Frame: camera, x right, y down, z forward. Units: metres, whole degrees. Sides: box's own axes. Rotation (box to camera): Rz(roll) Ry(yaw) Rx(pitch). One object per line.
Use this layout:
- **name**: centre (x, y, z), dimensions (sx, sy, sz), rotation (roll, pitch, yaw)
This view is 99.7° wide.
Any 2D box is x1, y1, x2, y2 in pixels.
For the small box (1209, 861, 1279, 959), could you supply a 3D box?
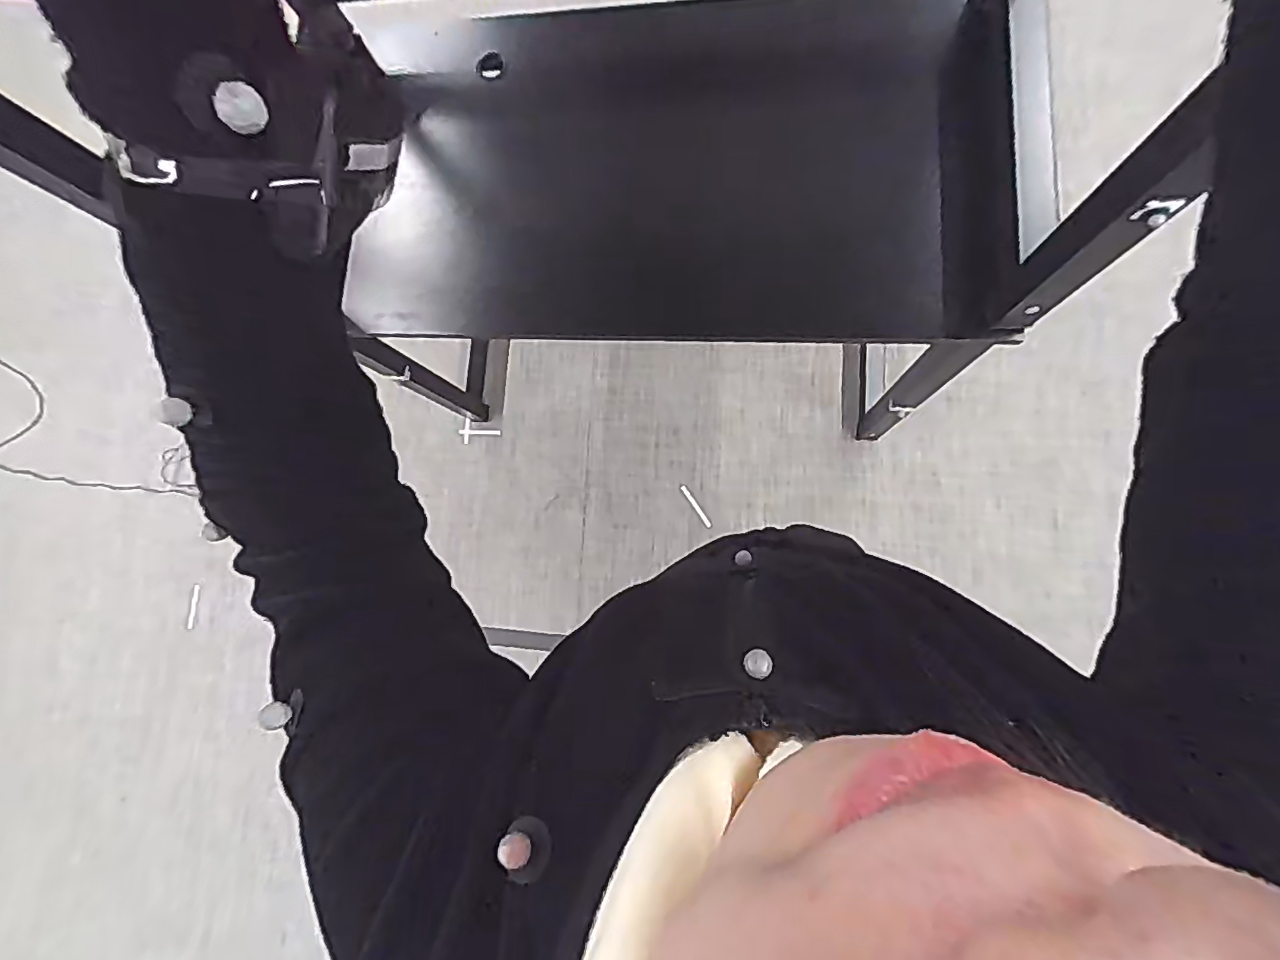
- **small box**: centre (1.354, 0.938, 1.128), dimensions (0.179, 0.176, 0.168), rotation (8, 84, 9)
